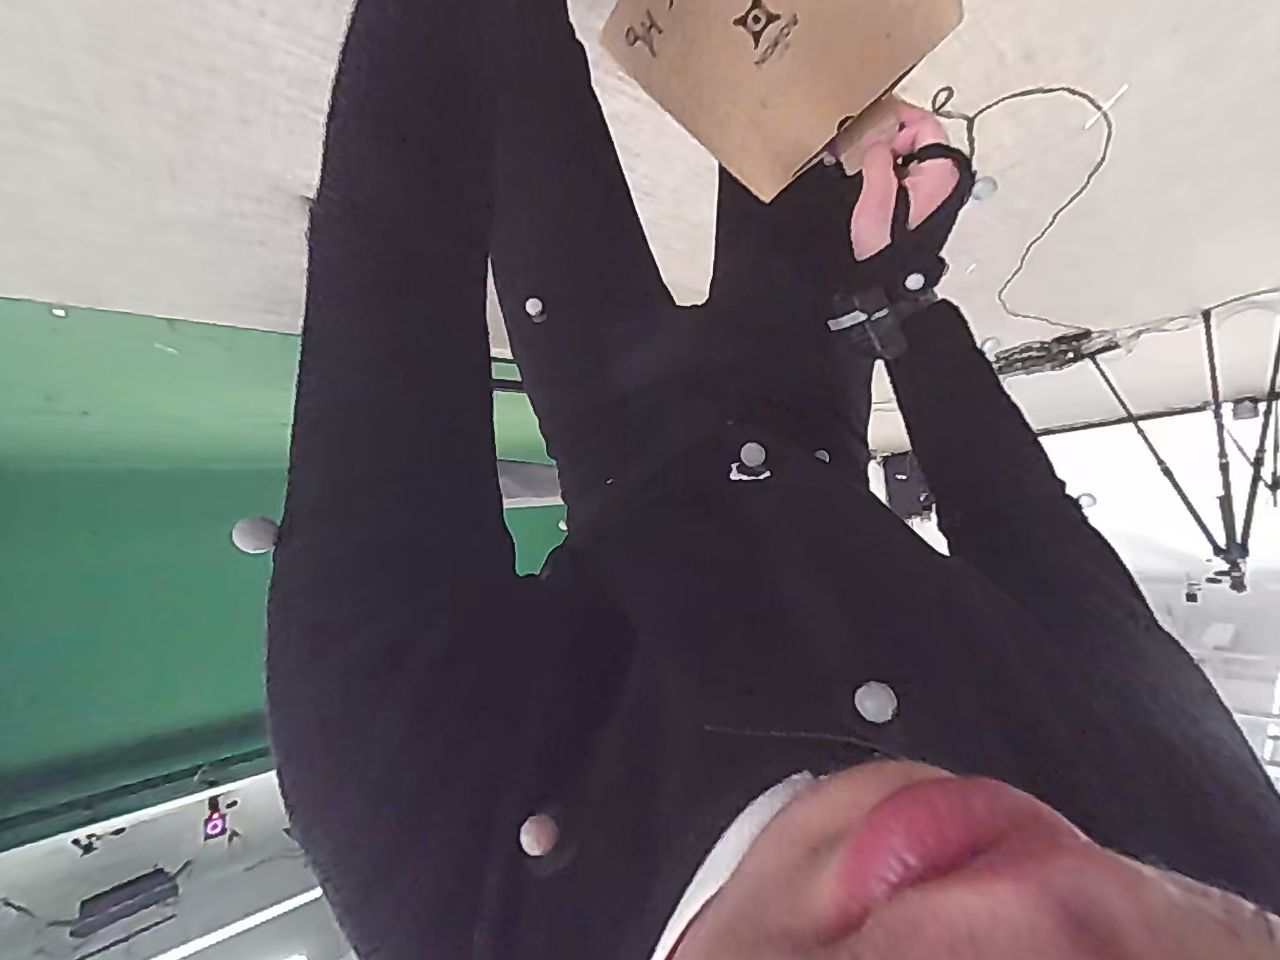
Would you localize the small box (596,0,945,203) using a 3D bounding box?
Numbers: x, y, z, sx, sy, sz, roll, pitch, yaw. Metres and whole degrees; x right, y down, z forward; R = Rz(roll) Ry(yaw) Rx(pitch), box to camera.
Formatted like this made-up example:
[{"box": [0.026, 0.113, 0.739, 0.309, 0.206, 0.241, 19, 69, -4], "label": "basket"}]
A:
[{"box": [0.100, -0.363, 0.401, 0.179, 0.176, 0.168, 29, 150, -20], "label": "small box"}]
